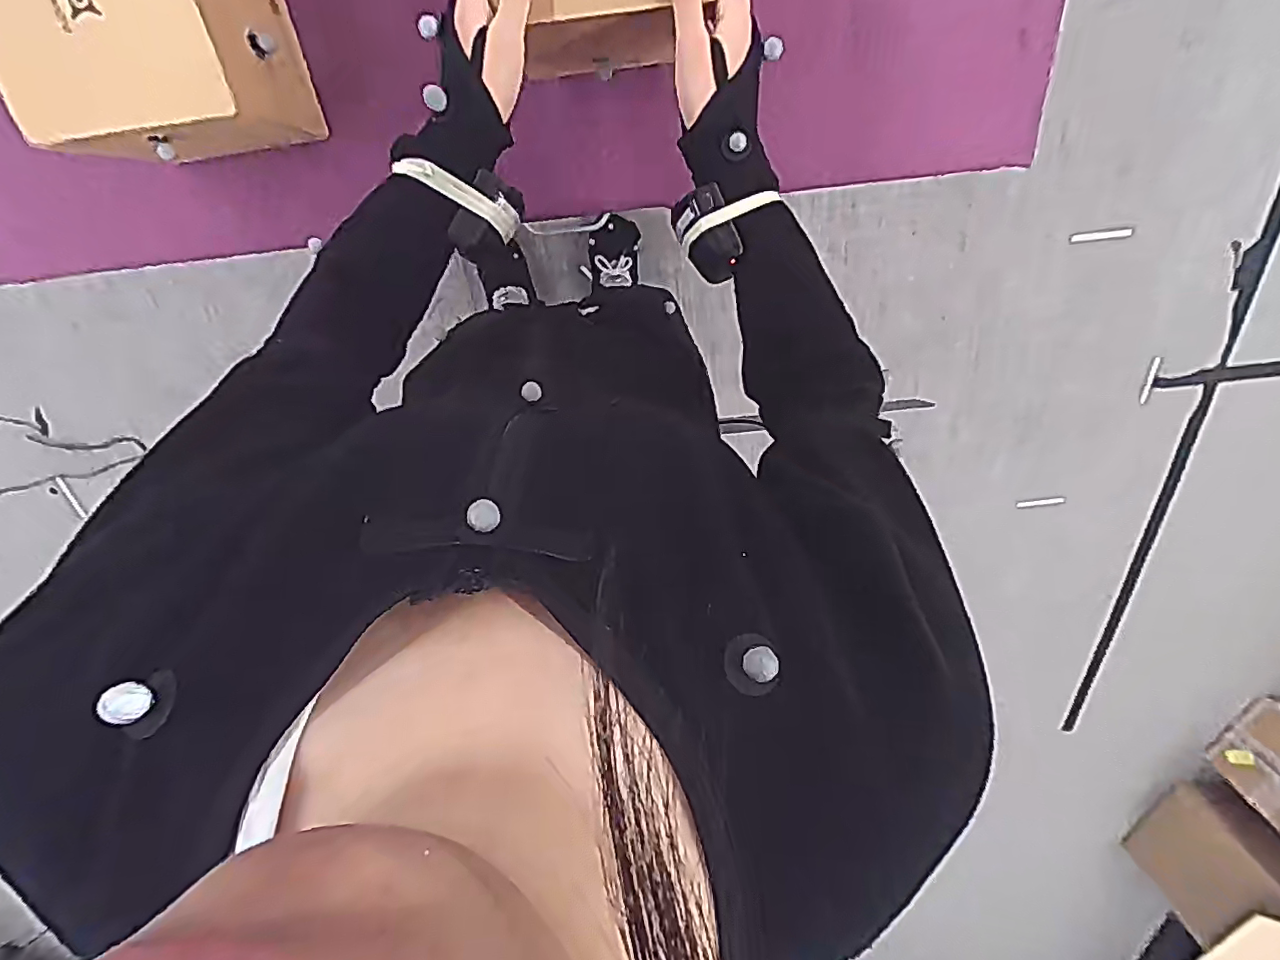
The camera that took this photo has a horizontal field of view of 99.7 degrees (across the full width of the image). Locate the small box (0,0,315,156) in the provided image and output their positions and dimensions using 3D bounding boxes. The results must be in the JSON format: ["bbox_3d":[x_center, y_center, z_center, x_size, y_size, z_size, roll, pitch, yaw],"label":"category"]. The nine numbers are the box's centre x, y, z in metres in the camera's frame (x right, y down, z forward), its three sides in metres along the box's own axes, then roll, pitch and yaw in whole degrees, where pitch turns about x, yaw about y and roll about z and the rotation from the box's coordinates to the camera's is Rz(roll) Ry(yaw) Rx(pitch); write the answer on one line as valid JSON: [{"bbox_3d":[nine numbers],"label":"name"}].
[{"bbox_3d":[-0.418,-0.389,0.466,0.179,0.176,0.168,-8,118,1],"label":"small box"}]

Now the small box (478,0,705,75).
[{"bbox_3d":[-0.042,-0.447,0.422,0.168,0.176,0.179,-5,117,2],"label":"small box"}]
